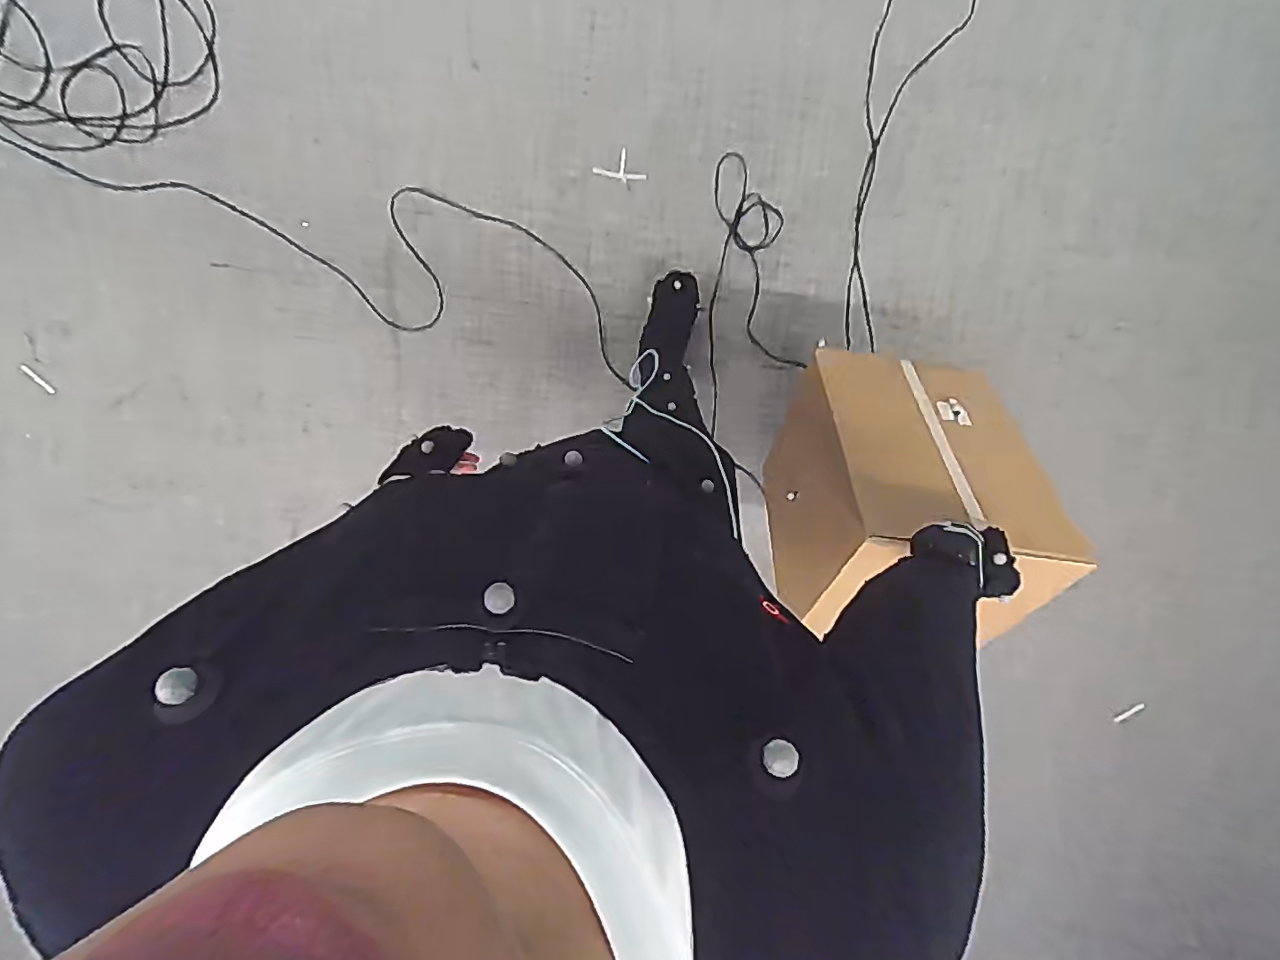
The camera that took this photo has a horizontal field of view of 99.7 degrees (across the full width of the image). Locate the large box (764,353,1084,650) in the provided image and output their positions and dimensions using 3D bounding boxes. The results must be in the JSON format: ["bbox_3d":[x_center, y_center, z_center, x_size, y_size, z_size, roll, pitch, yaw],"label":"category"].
[{"bbox_3d":[0.425,0.037,0.942,0.320,0.408,0.320,8,137,-4],"label":"large box"}]
